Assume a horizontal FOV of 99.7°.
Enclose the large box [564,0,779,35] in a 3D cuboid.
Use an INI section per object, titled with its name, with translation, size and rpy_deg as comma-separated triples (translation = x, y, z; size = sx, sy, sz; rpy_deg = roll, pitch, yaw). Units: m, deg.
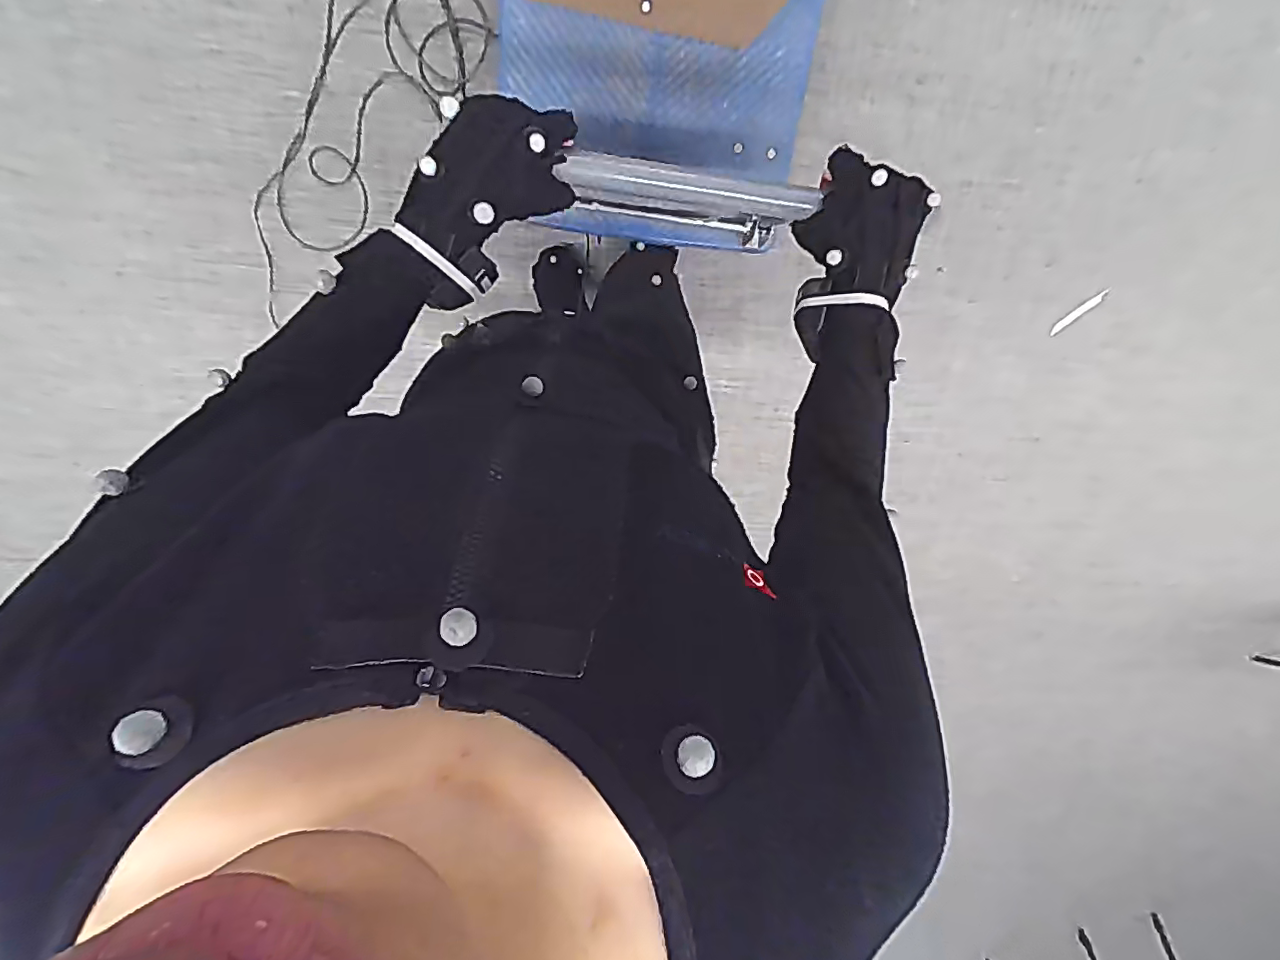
[large box]
translation = 0.036, -0.902, 0.777
size = 0.408, 0.320, 0.320
rpy_deg = 7, 115, -7
